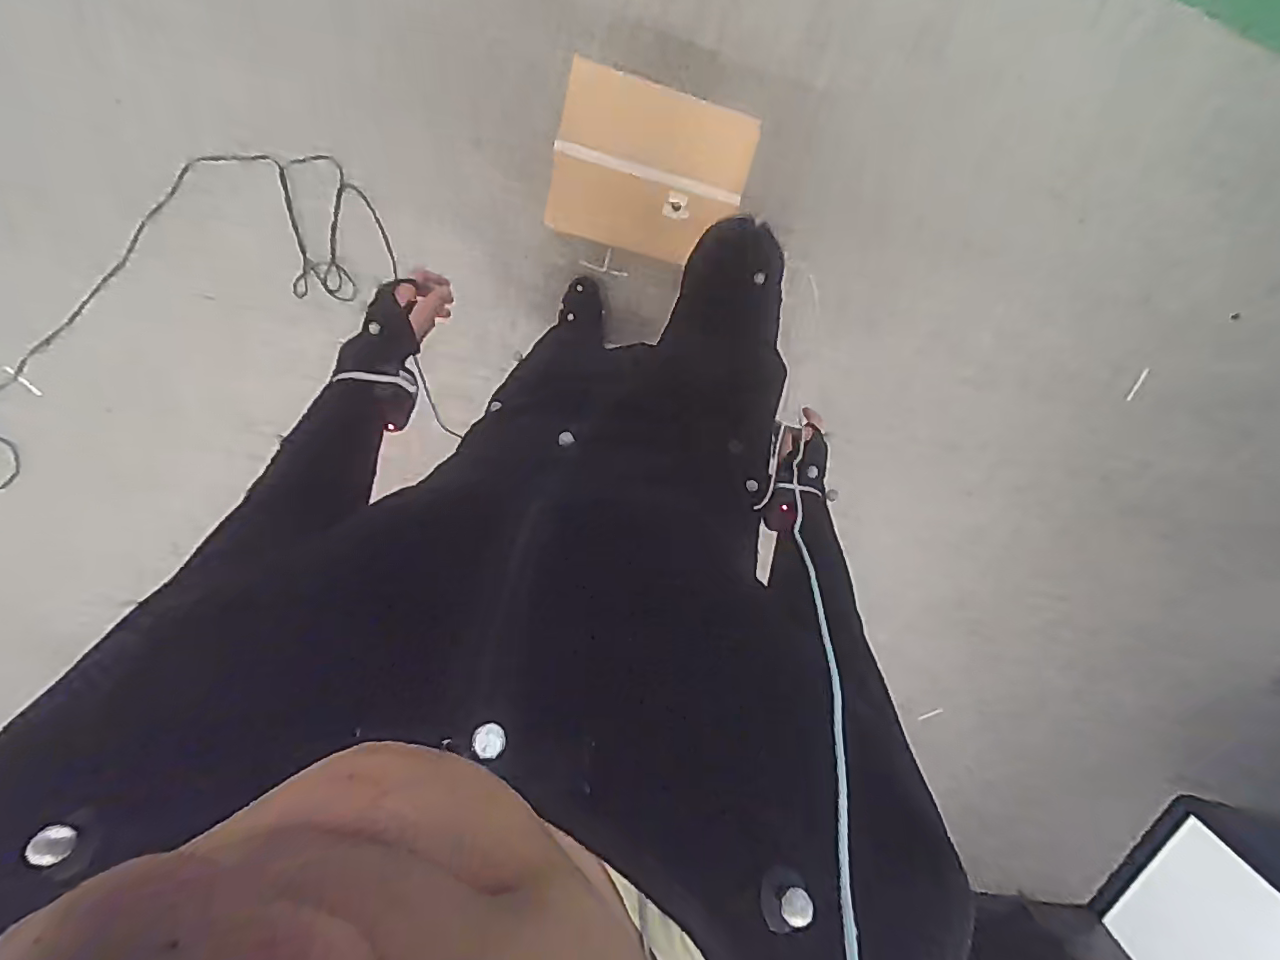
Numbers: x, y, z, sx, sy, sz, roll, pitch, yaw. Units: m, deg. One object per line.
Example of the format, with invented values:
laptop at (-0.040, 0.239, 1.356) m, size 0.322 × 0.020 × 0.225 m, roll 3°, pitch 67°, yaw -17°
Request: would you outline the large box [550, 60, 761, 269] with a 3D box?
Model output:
large box at (0.012, -0.706, 1.281) m, size 0.408 × 0.320 × 0.320 m, roll 11°, pitch 110°, yaw -10°
